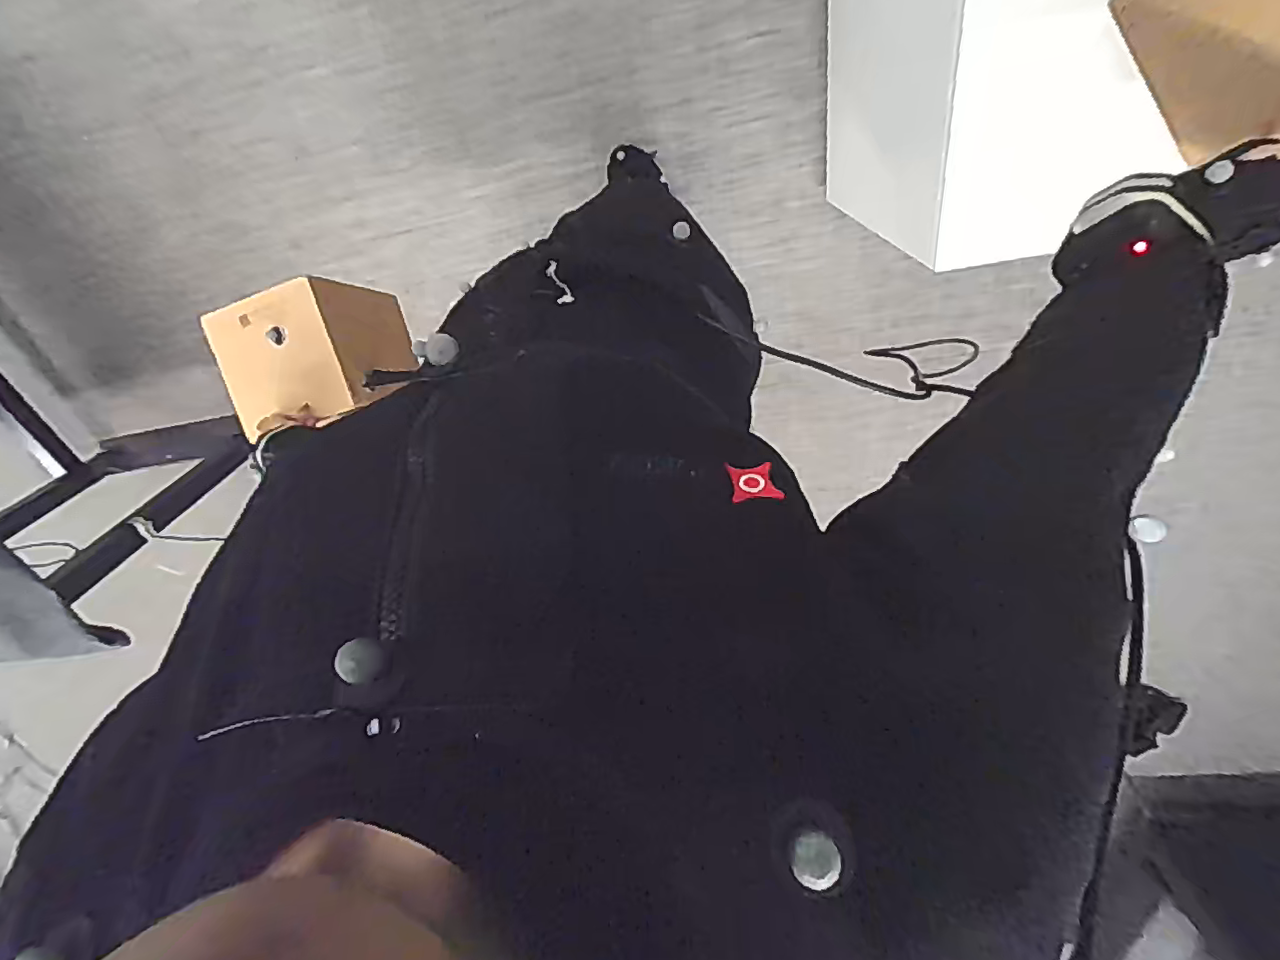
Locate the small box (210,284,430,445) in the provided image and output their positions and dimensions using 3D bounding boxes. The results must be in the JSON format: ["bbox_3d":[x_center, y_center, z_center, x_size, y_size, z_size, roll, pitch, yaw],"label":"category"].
[{"bbox_3d":[-0.429,-0.158,0.746,0.168,0.179,0.176,-14,98,12],"label":"small box"}]
